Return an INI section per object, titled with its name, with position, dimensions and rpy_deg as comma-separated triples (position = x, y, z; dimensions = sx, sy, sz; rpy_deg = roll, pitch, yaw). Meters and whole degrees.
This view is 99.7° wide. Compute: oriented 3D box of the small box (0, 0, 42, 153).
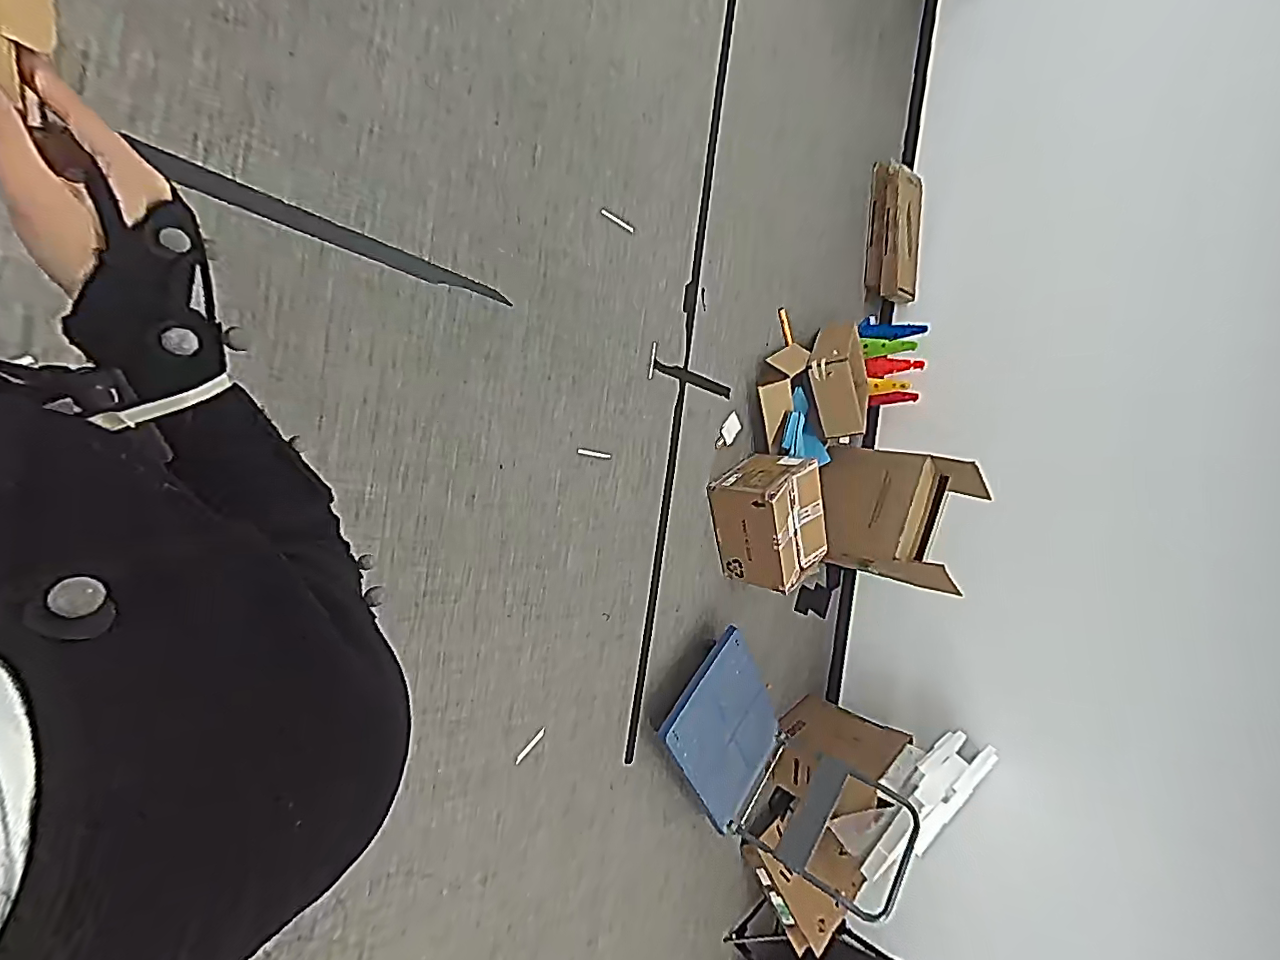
[small box]
position = -0.406, -0.270, 0.243
dimensions = 0.179, 0.176, 0.168
rpy_deg = -6, 107, -44
